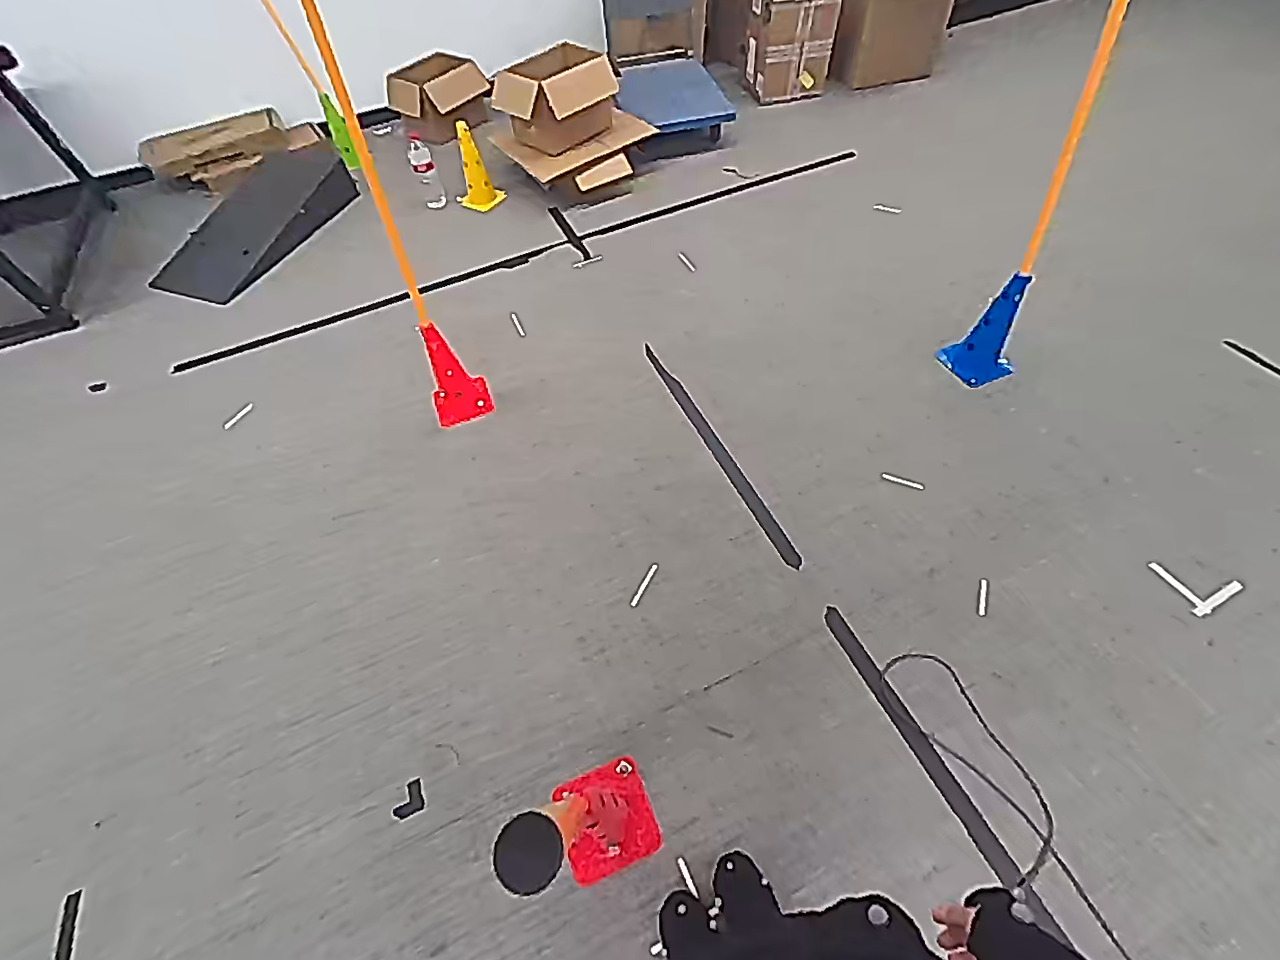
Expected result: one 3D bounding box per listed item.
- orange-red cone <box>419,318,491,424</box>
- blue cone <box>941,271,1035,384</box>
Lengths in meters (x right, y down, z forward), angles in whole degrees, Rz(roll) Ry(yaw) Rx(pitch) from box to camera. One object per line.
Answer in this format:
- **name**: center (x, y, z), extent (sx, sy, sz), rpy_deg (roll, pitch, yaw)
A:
- **orange-red cone**: center (-0.659, -0.391, 1.821), extent (0.198, 0.360, 0.199), rpy_deg (-19, 55, -9)
- **blue cone**: center (1.183, -0.520, 1.788), extent (0.193, 0.380, 0.192), rpy_deg (-20, 56, -9)
